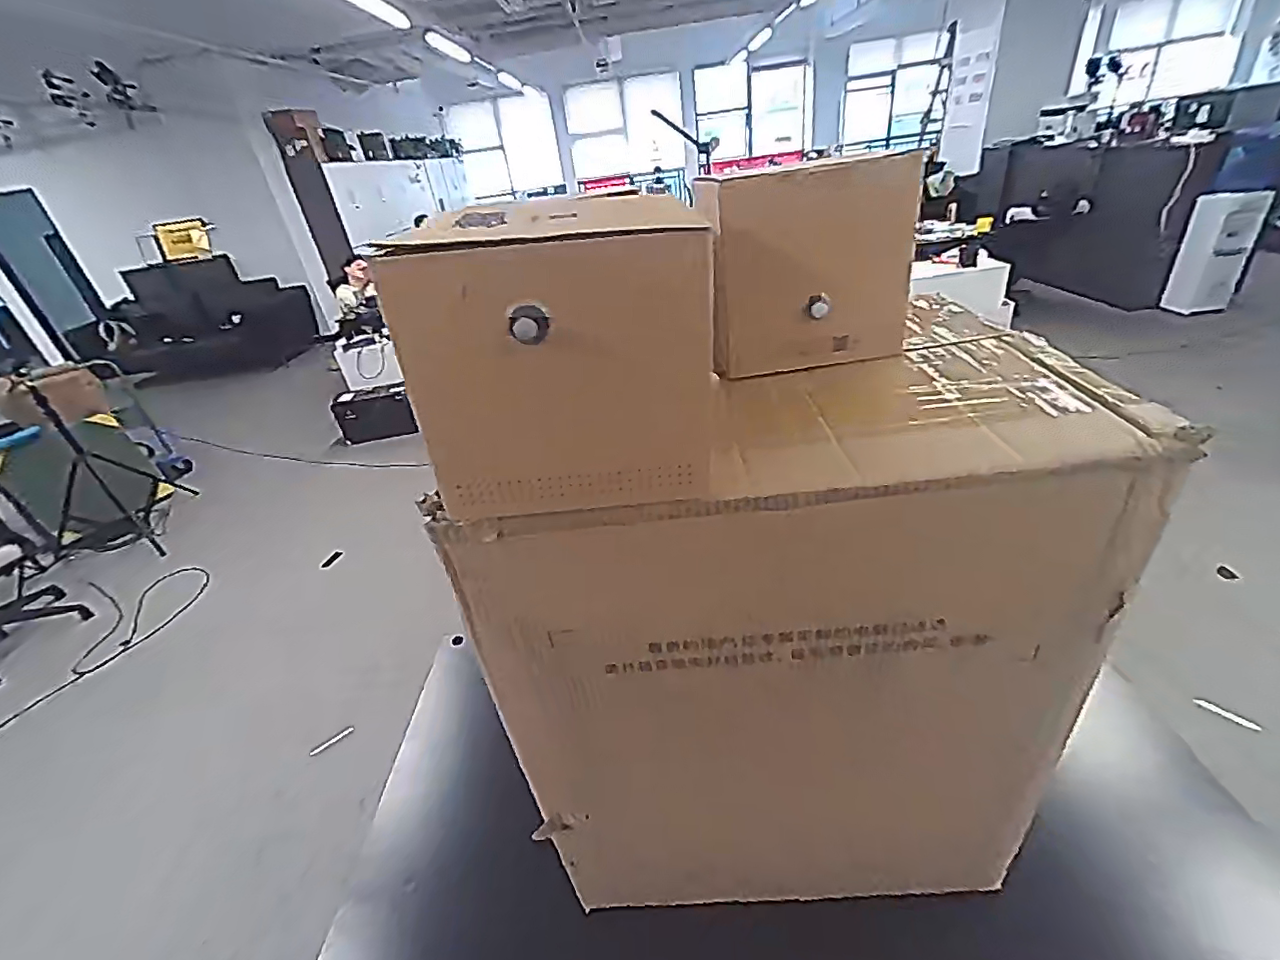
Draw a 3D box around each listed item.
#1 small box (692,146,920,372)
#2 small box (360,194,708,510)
[{"bbox_3d":[0.147,-0.218,0.537,0.168,0.176,0.179,-9,29,2],"label":"small box"},{"bbox_3d":[-0.051,-0.092,0.375,0.179,0.176,0.168,-5,32,-1],"label":"small box"}]
